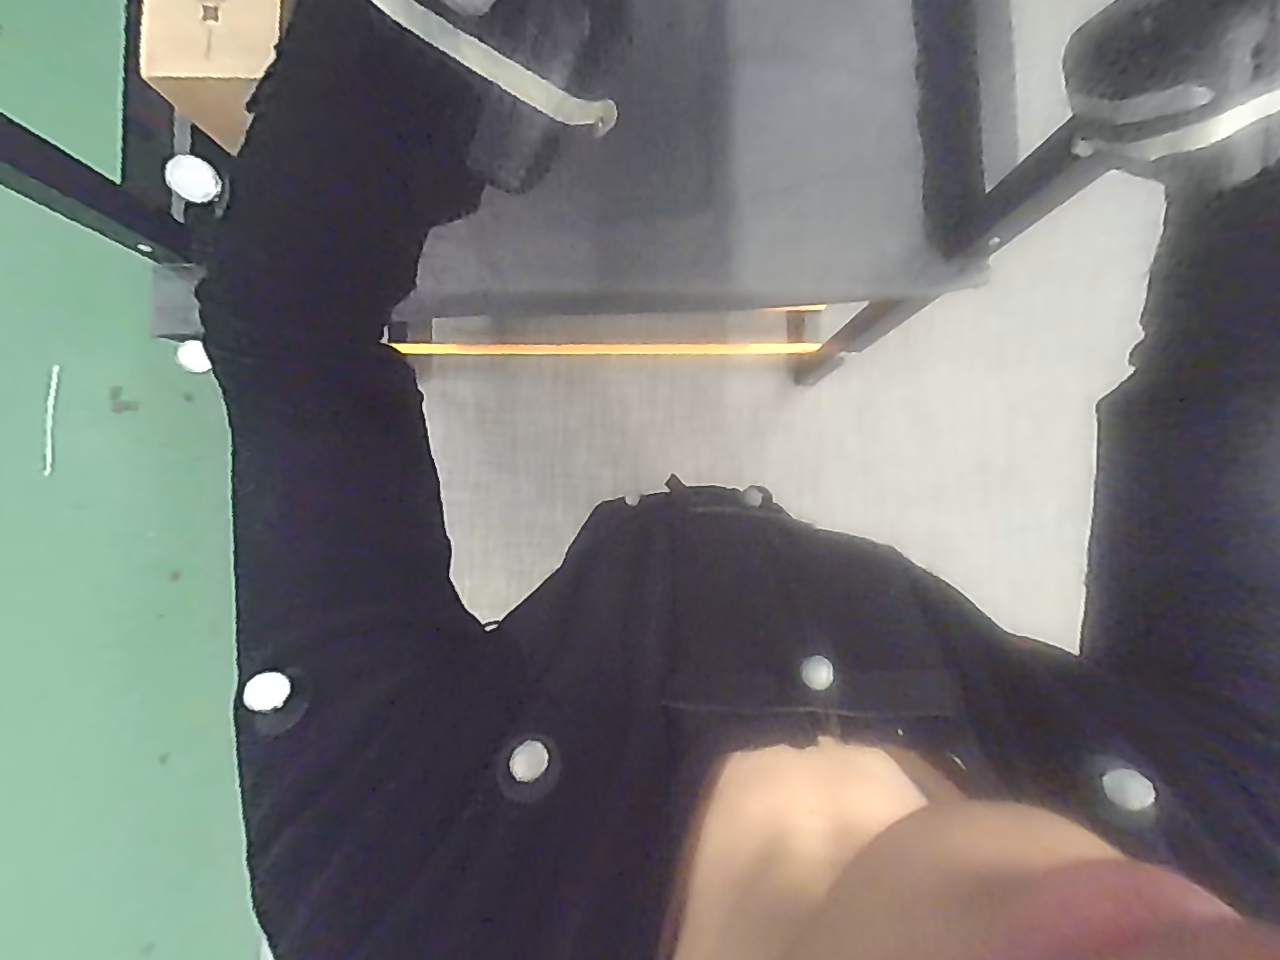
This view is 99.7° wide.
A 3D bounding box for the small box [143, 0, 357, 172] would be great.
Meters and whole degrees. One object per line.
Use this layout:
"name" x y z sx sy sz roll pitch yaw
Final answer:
"small box" -0.501 -0.549 0.721 0.168 0.176 0.179 1 87 0
